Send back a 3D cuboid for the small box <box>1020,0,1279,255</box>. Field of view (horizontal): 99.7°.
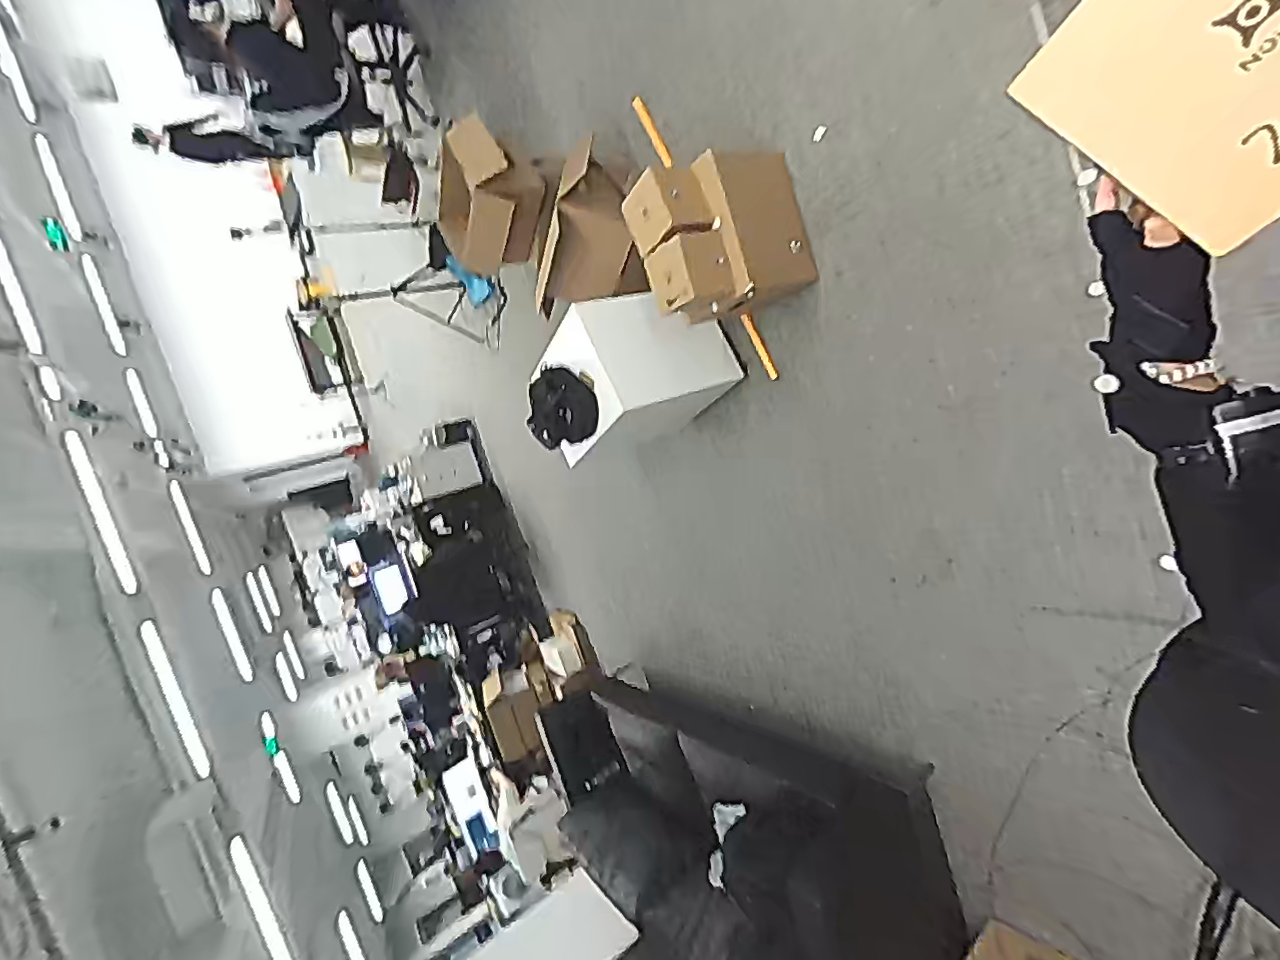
[{"bbox_3d":[0.393,-0.266,0.338,0.179,0.176,0.168,54,139,14],"label":"small box"}]
